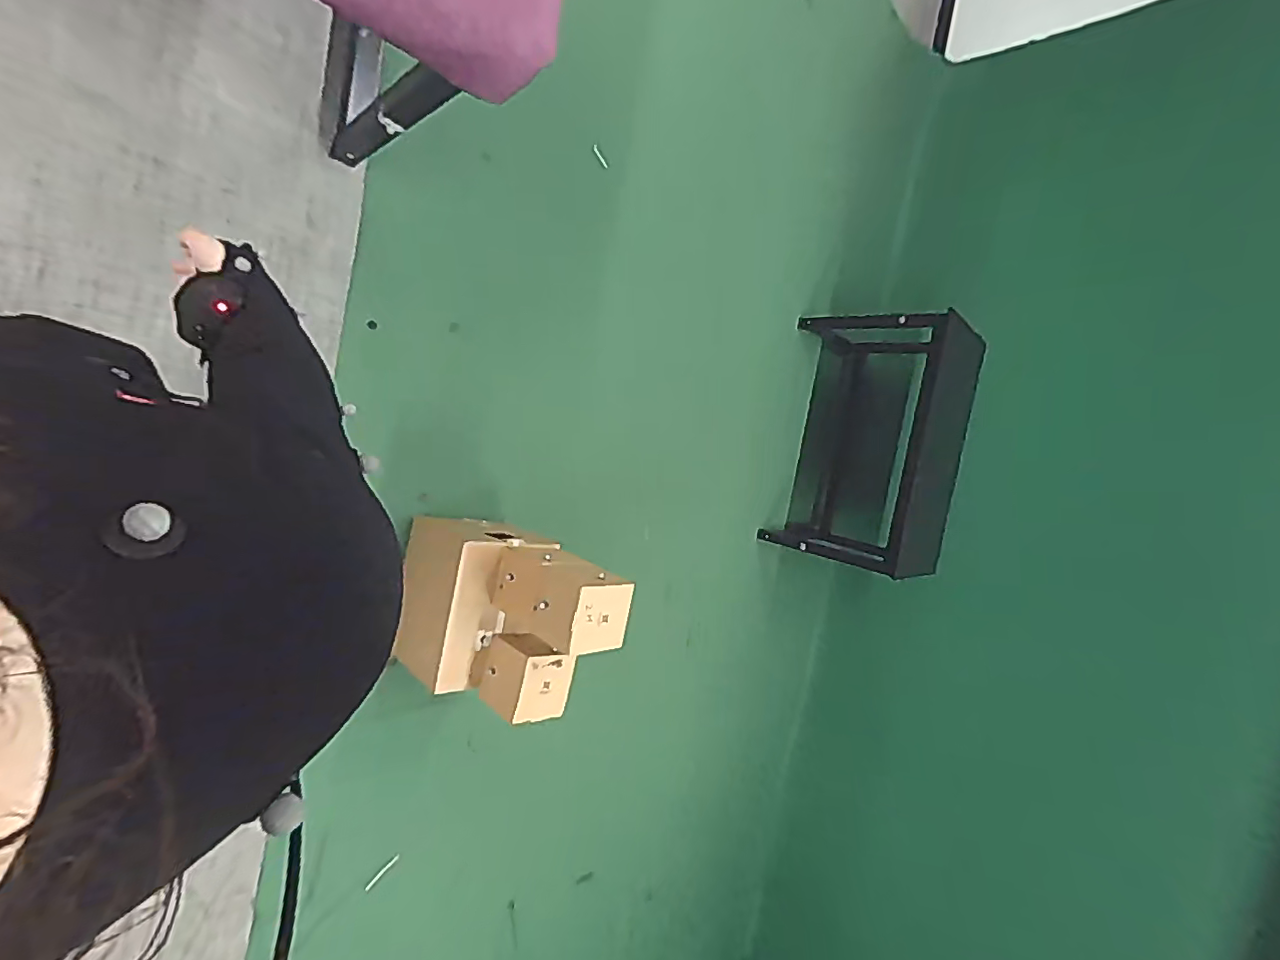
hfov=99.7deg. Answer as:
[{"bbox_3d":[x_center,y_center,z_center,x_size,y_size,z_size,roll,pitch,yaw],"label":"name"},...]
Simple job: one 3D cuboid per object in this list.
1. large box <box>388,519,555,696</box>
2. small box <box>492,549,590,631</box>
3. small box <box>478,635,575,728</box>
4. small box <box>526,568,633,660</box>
[{"bbox_3d":[-0.490,0.341,1.565,0.320,0.320,0.408,10,94,-46],"label":"large box"},{"bbox_3d":[-0.263,0.285,1.432,0.179,0.176,0.168,10,93,-47],"label":"small box"},{"bbox_3d":[-0.307,0.530,1.443,0.168,0.176,0.179,17,87,-47],"label":"small box"},{"bbox_3d":[-0.149,0.317,1.318,0.179,0.176,0.168,8,94,-46],"label":"small box"}]
